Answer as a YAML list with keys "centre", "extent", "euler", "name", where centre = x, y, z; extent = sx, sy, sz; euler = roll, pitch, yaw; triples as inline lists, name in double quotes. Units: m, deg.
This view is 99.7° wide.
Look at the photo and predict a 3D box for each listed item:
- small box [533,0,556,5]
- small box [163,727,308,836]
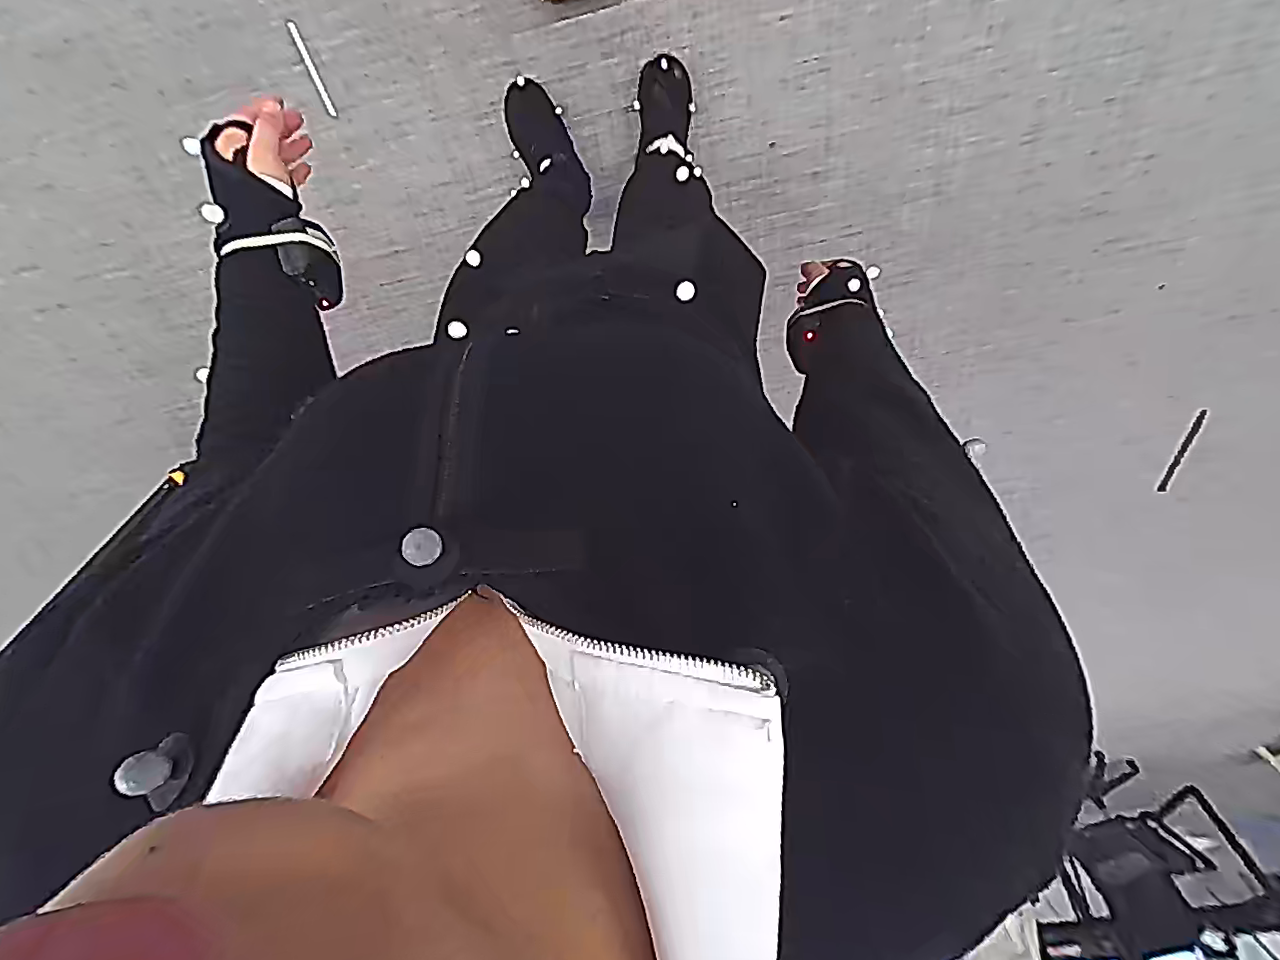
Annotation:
- centre: [-0.118, -0.914, 0.883]
  extent: [0.168, 0.176, 0.179]
  euler: [-12, 131, 6]
  name: "small box"
- centre: [-0.915, 0.693, 1.247]
  extent: [0.168, 0.176, 0.179]
  euler: [-10, 130, 5]
  name: "small box"
